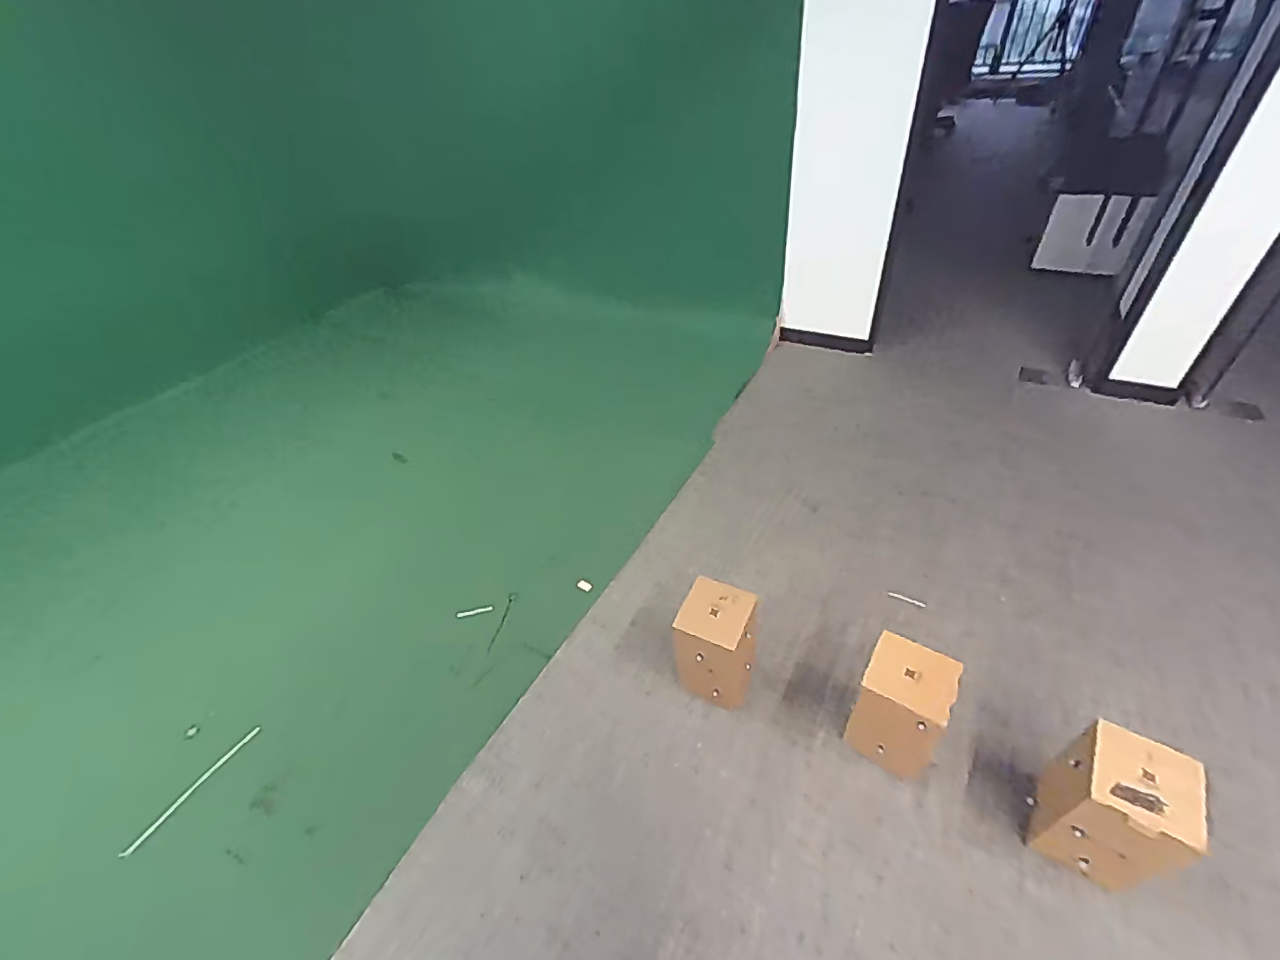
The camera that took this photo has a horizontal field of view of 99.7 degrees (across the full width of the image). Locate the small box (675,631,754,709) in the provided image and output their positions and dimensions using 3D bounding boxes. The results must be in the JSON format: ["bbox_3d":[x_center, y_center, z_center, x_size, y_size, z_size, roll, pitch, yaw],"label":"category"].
[{"bbox_3d":[0.213,0.509,1.524,0.168,0.176,0.179,18,47,25],"label":"small box"}]

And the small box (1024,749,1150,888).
[{"bbox_3d":[0.958,0.731,1.165,0.168,0.176,0.179,21,50,27],"label":"small box"}]

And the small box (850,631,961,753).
[{"bbox_3d":[0.601,0.488,1.242,0.179,0.176,0.168,21,49,28],"label":"small box"}]

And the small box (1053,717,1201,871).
[{"bbox_3d":[0.937,0.612,1.052,0.168,0.176,0.179,22,49,28],"label":"small box"}]

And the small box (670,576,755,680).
[{"bbox_3d":[0.193,0.389,1.412,0.168,0.176,0.179,17,48,23],"label":"small box"}]
